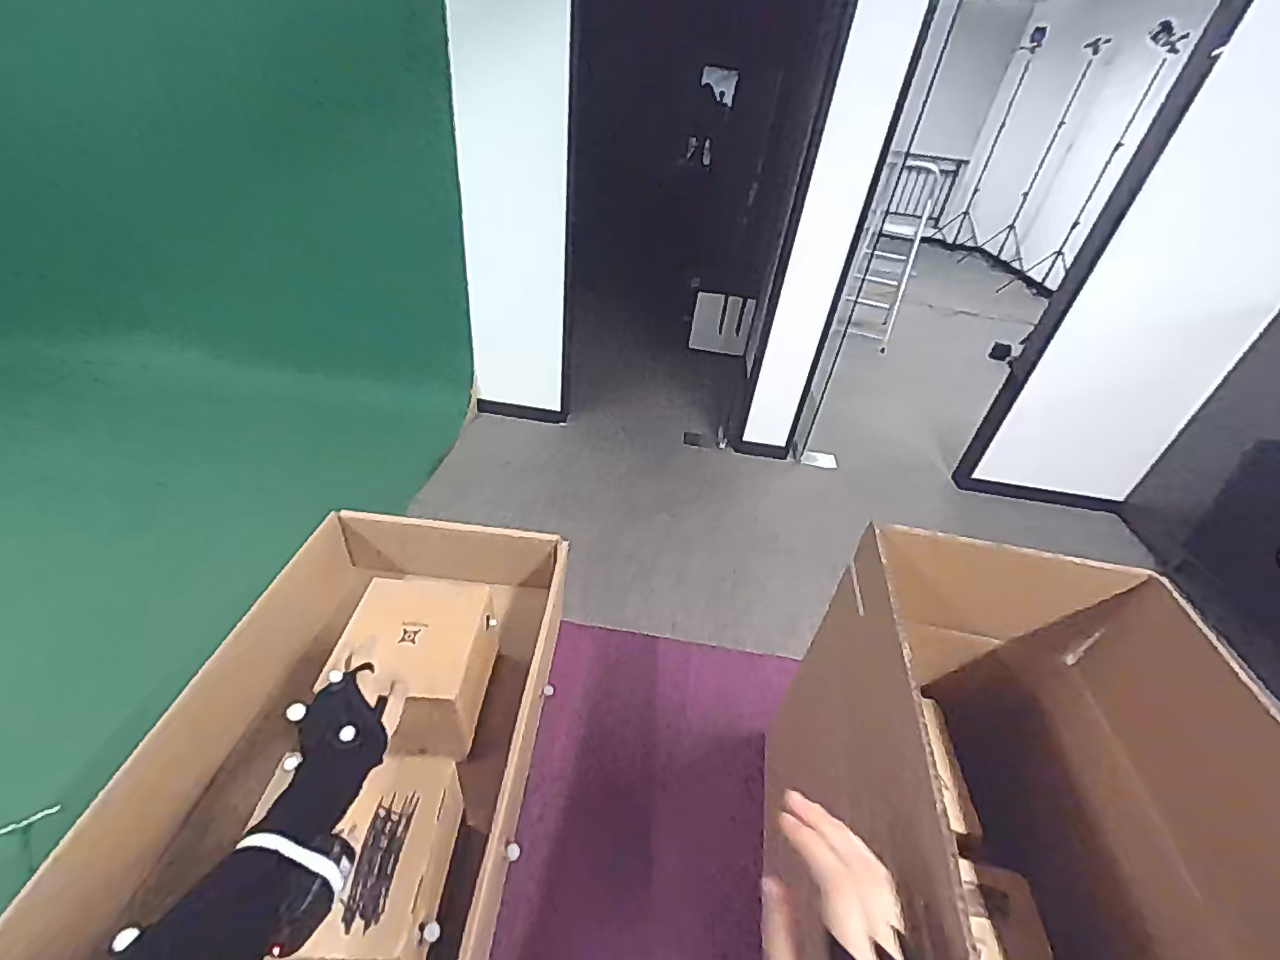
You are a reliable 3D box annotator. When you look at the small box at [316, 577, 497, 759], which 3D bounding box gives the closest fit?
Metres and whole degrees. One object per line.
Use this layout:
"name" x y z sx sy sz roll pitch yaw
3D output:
"small box" -0.301 0.259 0.745 0.168 0.176 0.179 4 37 -2
